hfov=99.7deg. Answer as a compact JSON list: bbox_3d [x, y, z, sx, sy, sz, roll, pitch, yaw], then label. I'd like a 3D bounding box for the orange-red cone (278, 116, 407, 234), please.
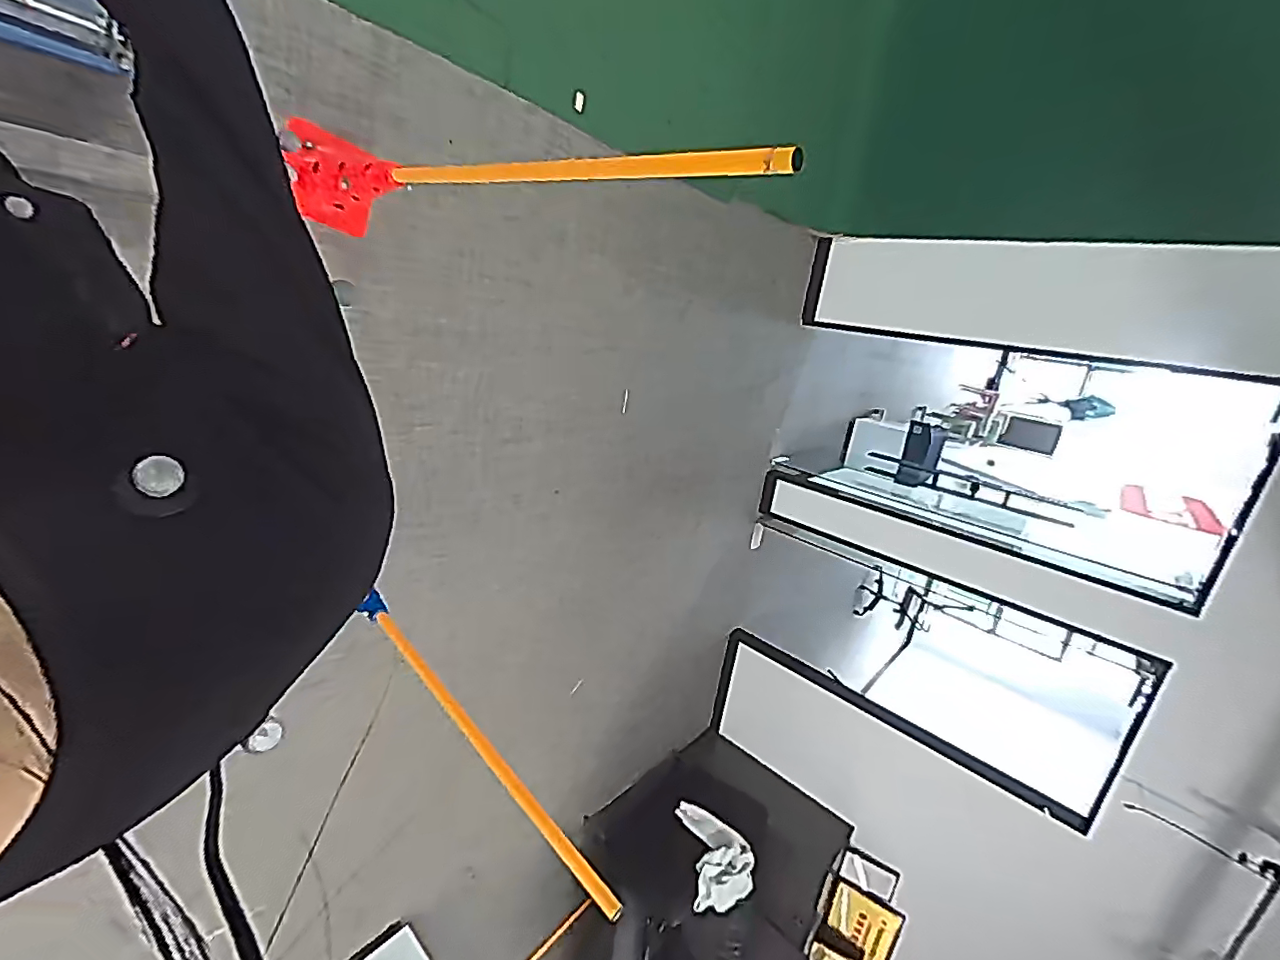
[{"bbox_3d":[-0.603,-0.658,1.168,0.198,0.360,0.199,7,103,-51],"label":"orange-red cone"}]
